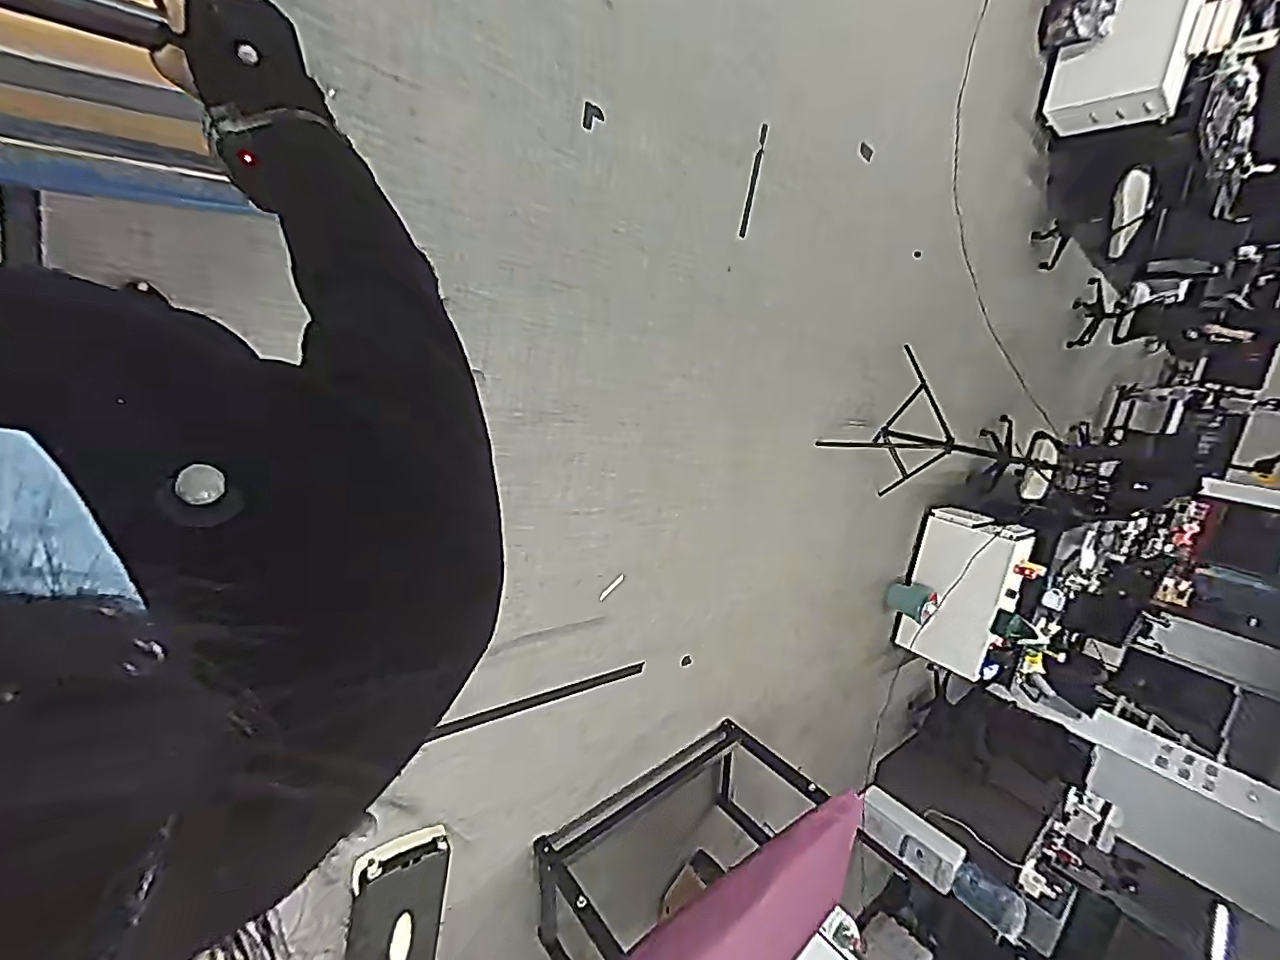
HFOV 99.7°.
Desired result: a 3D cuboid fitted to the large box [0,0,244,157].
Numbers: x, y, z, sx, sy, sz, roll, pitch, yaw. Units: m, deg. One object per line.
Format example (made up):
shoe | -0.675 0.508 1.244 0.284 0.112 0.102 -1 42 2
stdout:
large box | -0.789 -0.655 0.691 0.408 0.320 0.320 -10 111 -39
